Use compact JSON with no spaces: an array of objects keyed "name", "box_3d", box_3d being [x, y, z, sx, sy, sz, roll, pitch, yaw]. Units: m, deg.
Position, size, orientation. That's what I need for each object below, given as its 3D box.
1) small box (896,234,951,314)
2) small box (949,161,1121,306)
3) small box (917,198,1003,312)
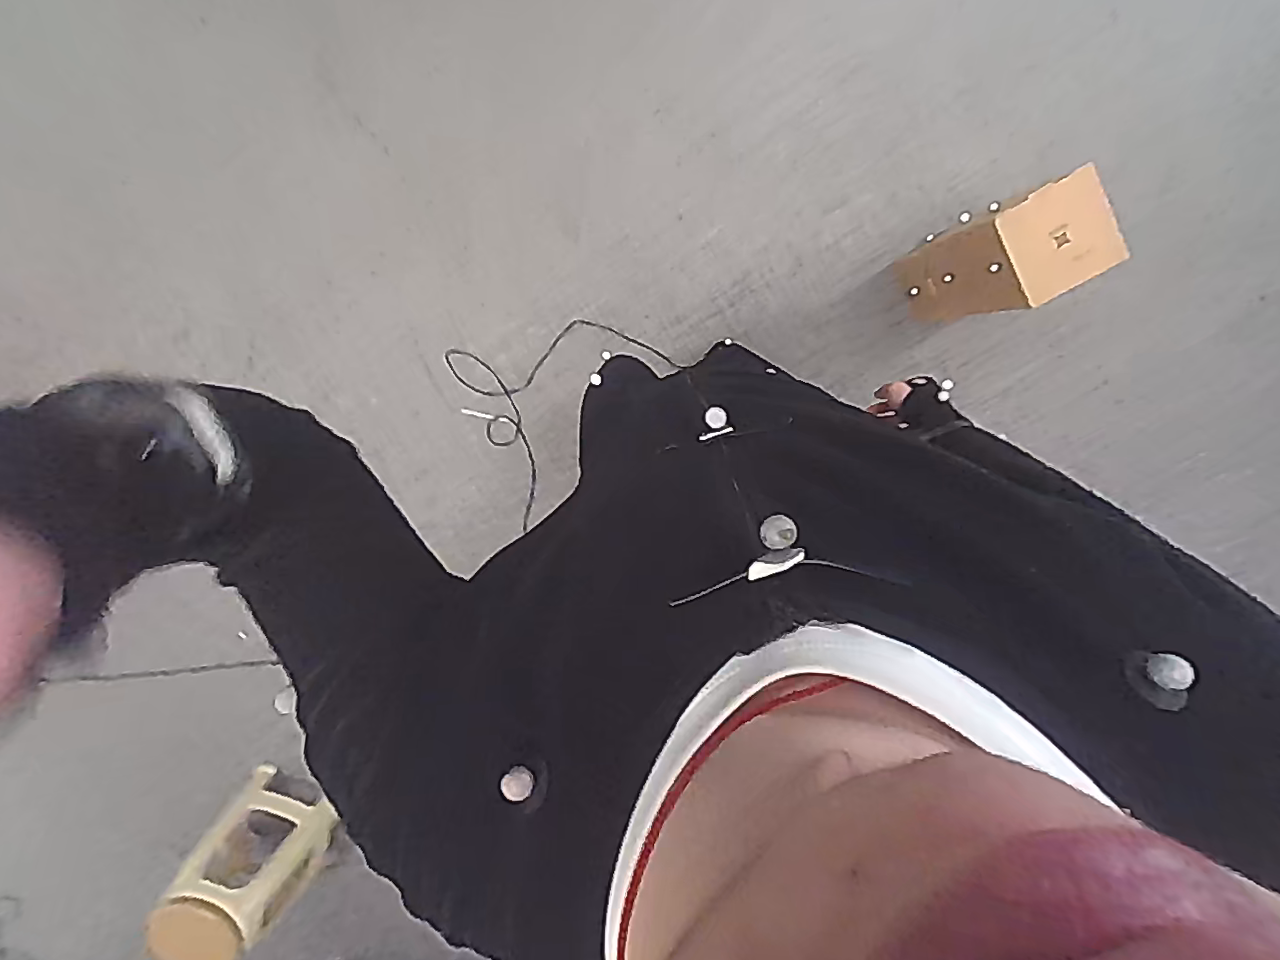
[{"name":"small box","box_3d":[0.747,-0.517,1.308,0.179,0.176,0.168,-29,102,12]},{"name":"small box","box_3d":[0.710,-0.437,0.994,0.168,0.176,0.179,-30,102,13]},{"name":"small box","box_3d":[0.729,-0.477,1.148,0.168,0.176,0.179,-31,101,12]}]
